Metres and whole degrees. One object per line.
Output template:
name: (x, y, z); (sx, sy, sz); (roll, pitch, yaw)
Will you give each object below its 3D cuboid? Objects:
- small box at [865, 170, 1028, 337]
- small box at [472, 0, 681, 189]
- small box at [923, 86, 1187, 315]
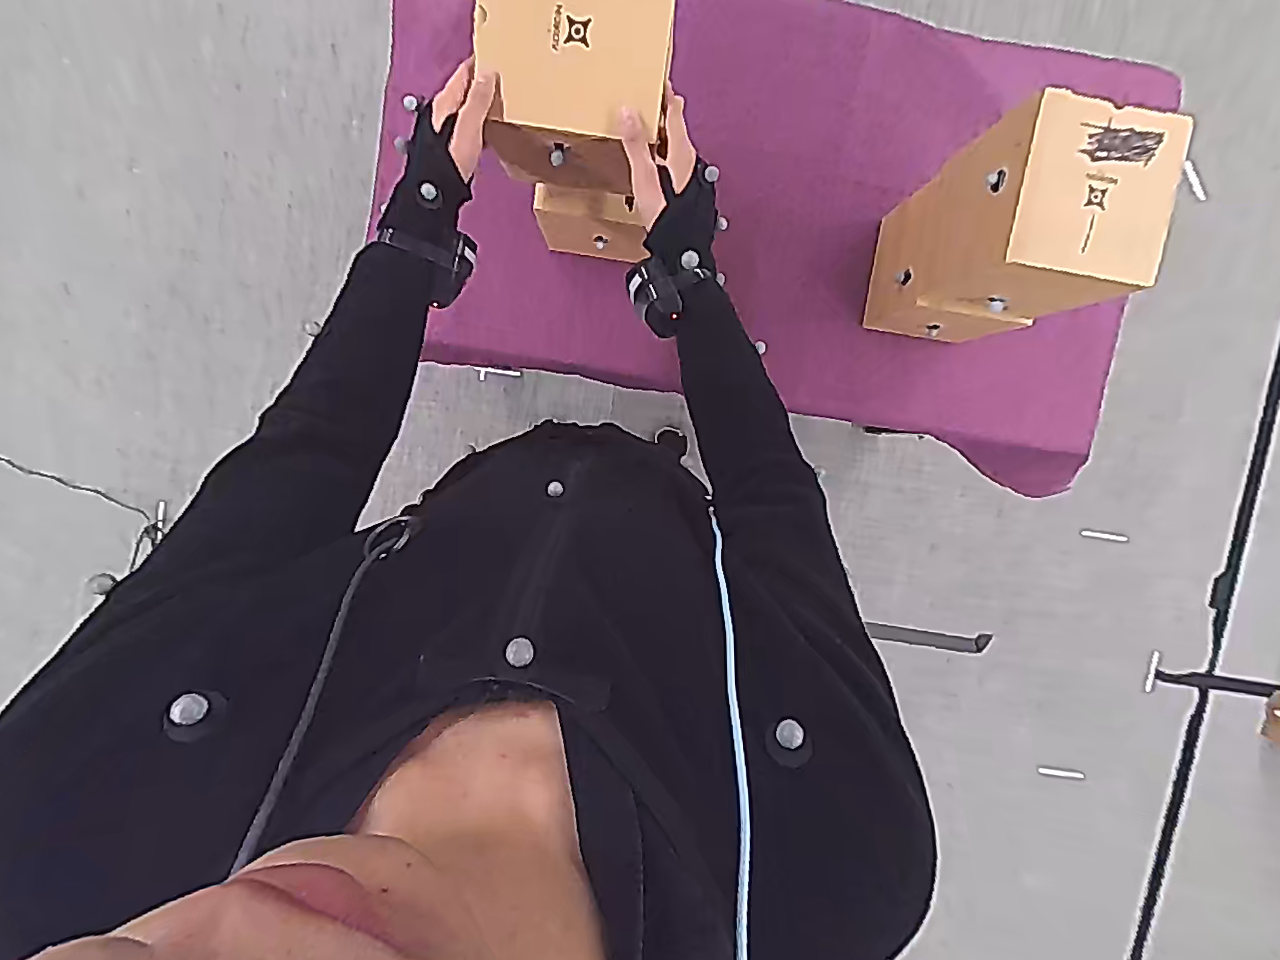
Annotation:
small box: (0.459, -0.321, 0.805); (0.168, 0.176, 0.179); (9, 96, -4)
small box: (-0.056, -0.418, 0.556); (0.179, 0.176, 0.168); (8, 103, 0)
small box: (0.468, -0.312, 0.641); (0.168, 0.176, 0.179); (9, 96, -3)
